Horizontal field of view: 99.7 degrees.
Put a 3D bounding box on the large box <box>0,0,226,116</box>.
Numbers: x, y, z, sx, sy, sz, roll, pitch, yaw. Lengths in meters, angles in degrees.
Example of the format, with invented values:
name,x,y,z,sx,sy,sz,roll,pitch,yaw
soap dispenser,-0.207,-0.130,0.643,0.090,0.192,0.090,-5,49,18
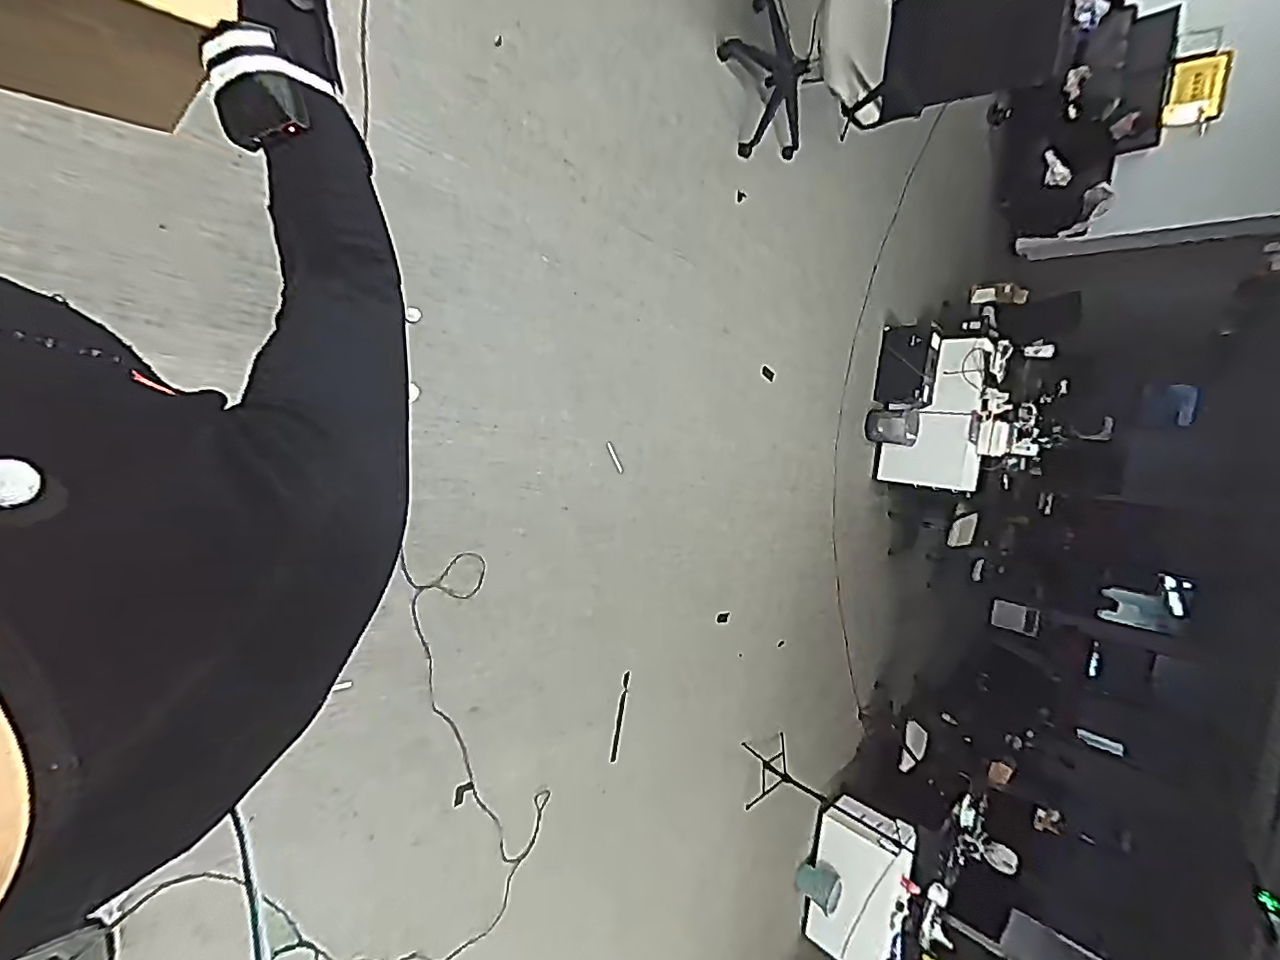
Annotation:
name,x,y,z,sx,sy,sz,roll,pitch,yaw
large box,-0.525,-0.472,0.298,0.408,0.320,0.320,-10,110,-46
